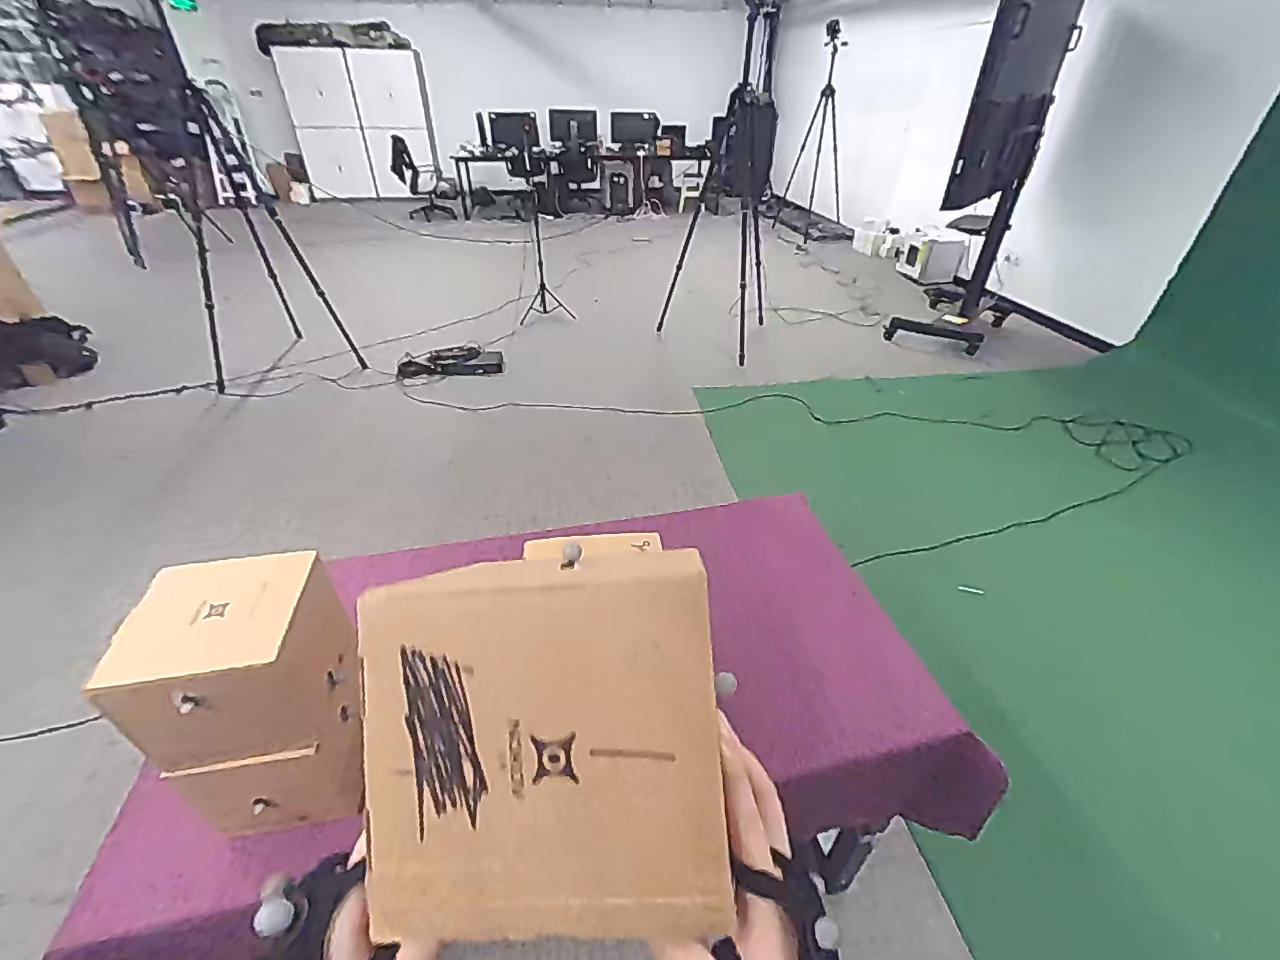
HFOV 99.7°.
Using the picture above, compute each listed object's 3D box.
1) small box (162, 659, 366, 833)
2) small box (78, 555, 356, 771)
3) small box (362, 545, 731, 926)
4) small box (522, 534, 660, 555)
[{"bbox_3d":[-0.472,0.347,0.730,0.168,0.176,0.179,-5,36,-8],"label":"small box"},{"bbox_3d":[-0.466,0.214,0.635,0.179,0.176,0.168,-6,38,-9],"label":"small box"},{"bbox_3d":[-0.042,0.130,0.337,0.179,0.168,0.176,-5,-5,4],"label":"small box"},{"bbox_3d":[-0.053,0.189,0.674,0.179,0.176,0.168,-4,36,-5],"label":"small box"}]
